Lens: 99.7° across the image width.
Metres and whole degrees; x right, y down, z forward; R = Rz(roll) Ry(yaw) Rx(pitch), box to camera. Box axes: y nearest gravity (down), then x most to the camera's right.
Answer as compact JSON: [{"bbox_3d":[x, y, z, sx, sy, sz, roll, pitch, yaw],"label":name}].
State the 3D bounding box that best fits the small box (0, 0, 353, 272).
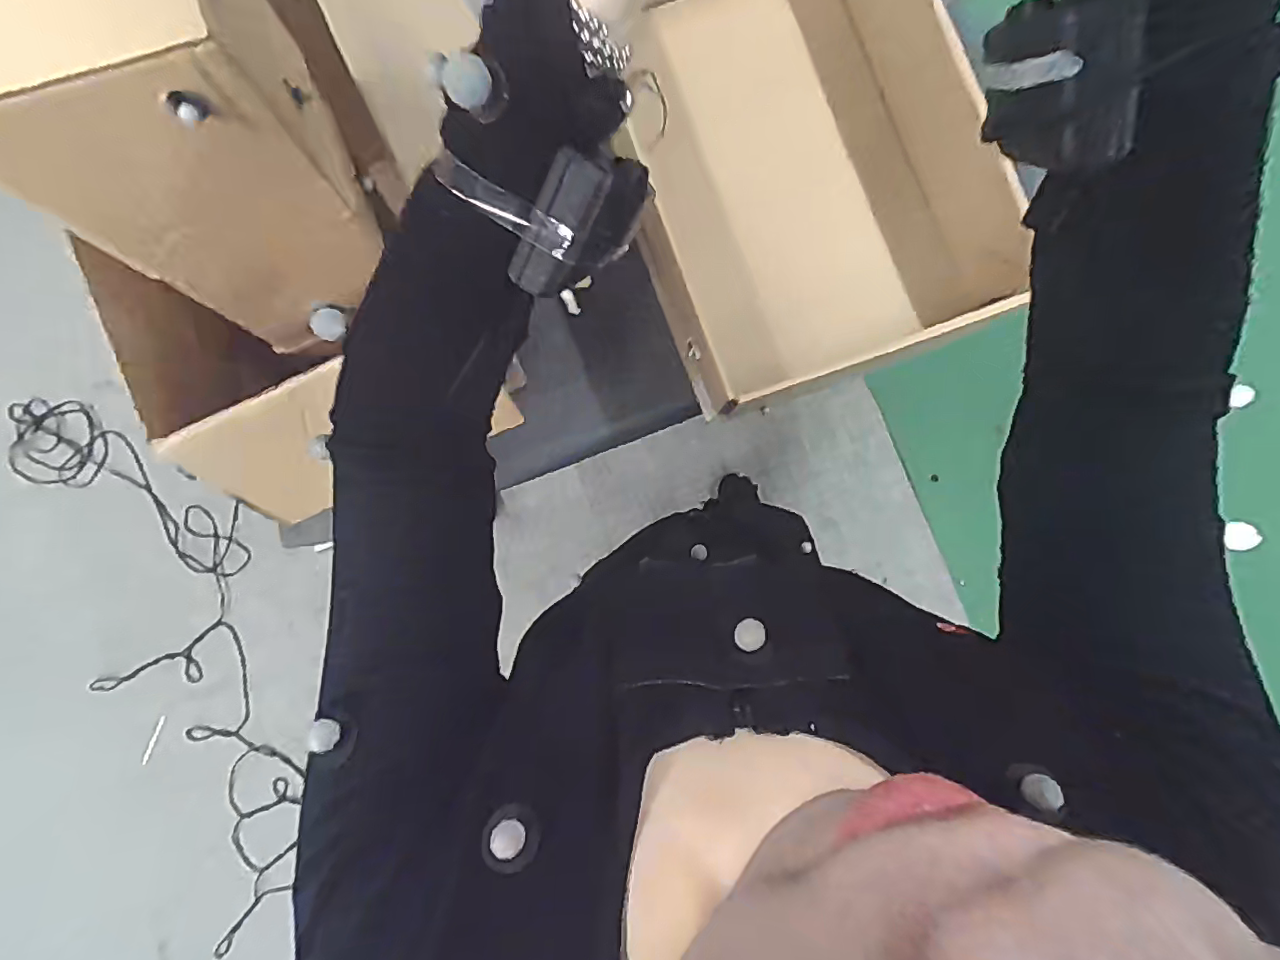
[{"bbox_3d":[-0.347,-0.279,0.383,0.179,0.176,0.168,-21,85,-5],"label":"small box"}]
